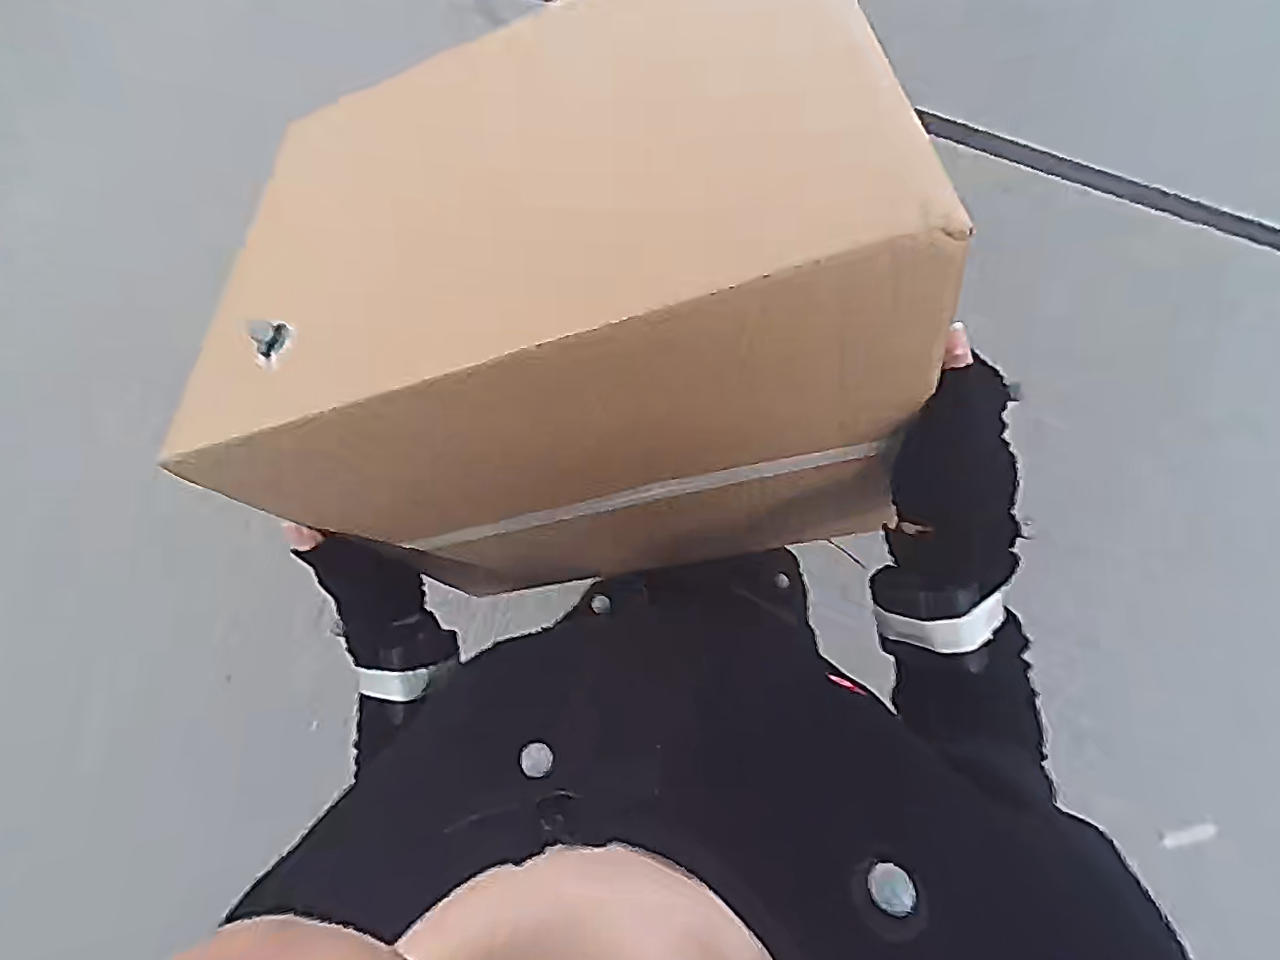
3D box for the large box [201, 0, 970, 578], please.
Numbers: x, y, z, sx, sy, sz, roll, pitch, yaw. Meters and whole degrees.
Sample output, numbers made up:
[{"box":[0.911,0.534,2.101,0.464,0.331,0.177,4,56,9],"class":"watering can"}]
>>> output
[{"box":[-0.025,-0.133,0.448,0.408,0.320,0.320,-11,63,14],"class":"large box"}]
